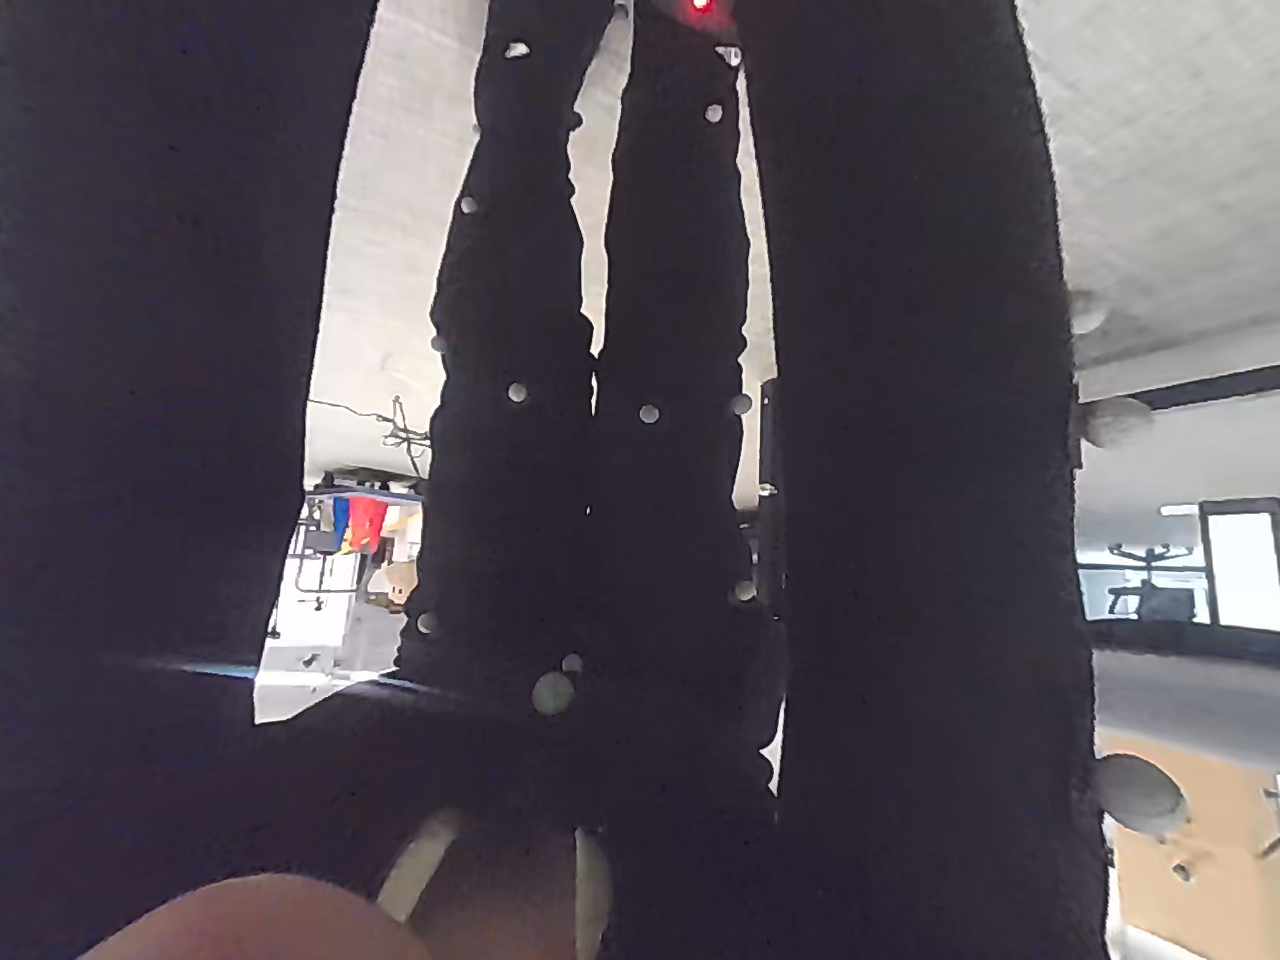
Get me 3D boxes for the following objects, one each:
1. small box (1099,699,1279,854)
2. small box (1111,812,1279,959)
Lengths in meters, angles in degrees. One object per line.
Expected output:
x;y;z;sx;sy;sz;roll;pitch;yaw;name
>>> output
0.879;0.460;0.873;0.179;0.176;0.168;8;170;-30;small box
0.885;0.624;0.852;0.179;0.176;0.168;8;169;-28;small box
